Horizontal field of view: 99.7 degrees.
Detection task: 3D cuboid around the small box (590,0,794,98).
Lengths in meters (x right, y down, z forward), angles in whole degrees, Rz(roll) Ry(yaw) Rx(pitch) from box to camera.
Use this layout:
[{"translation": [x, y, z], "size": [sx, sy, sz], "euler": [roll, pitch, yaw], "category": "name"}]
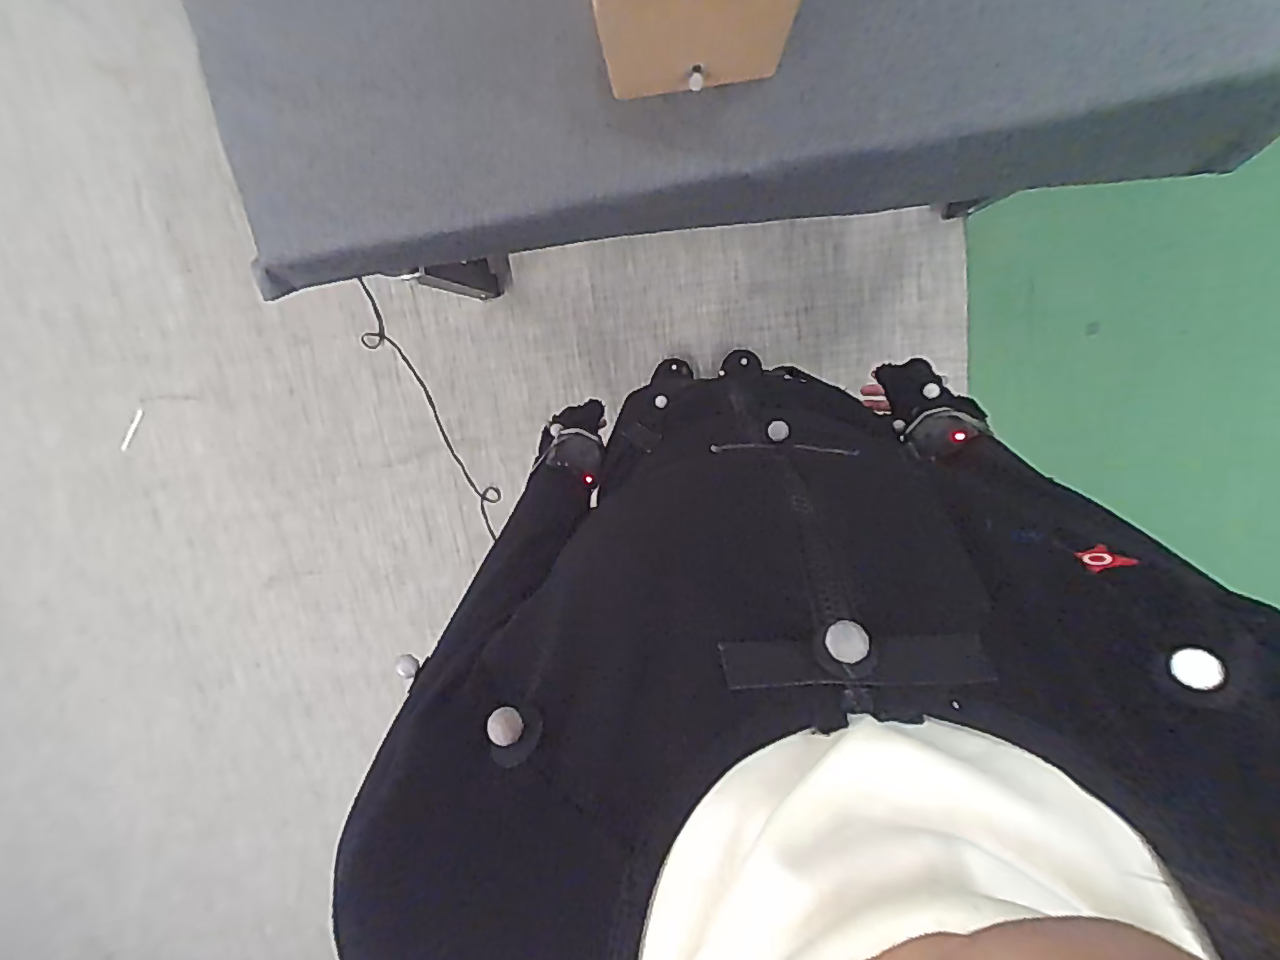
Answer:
[{"translation": [0.040, -0.491, 0.501], "size": [0.179, 0.176, 0.168], "euler": [-6, 102, 4], "category": "small box"}]
